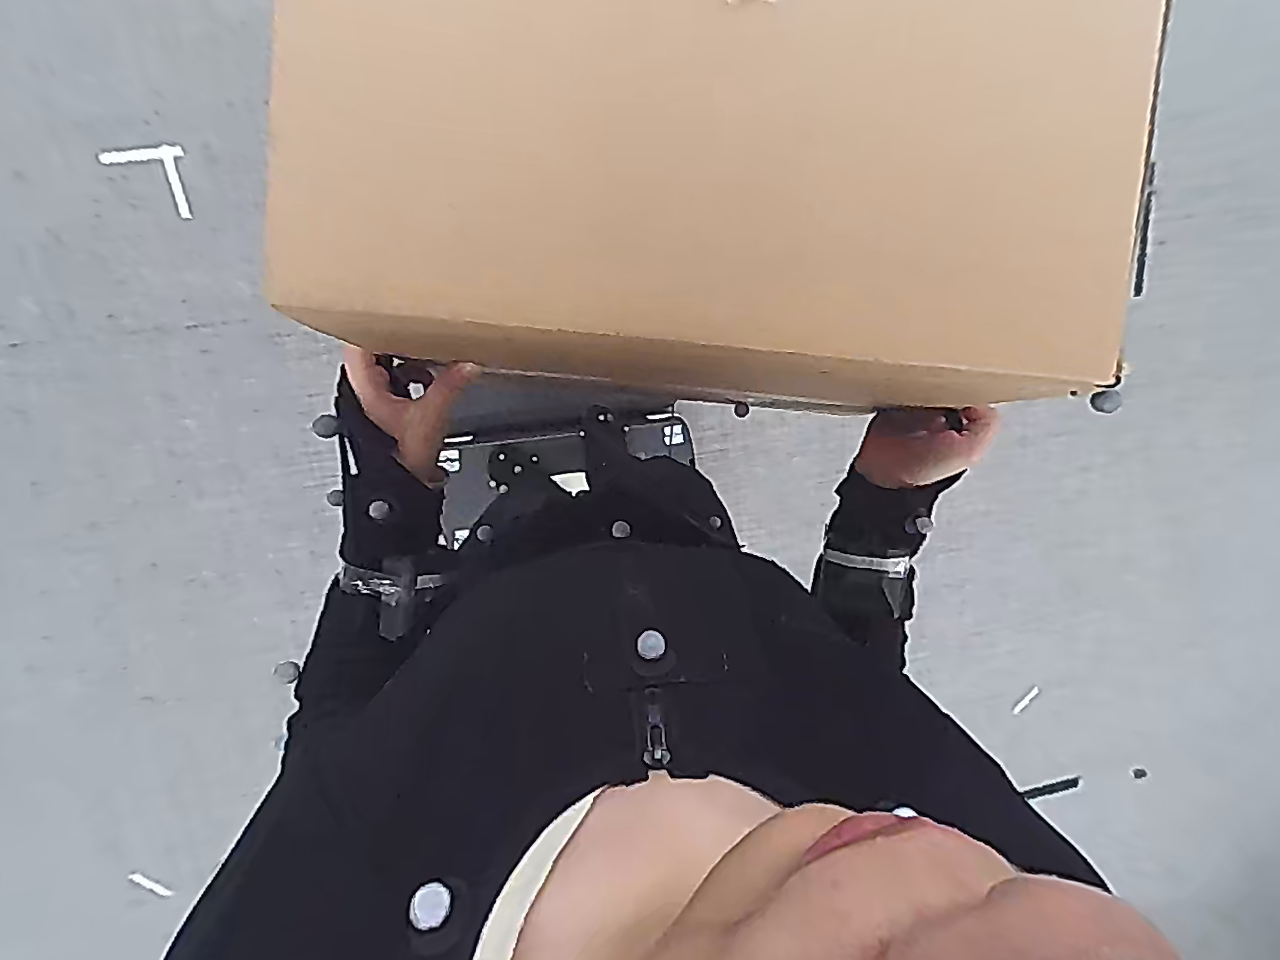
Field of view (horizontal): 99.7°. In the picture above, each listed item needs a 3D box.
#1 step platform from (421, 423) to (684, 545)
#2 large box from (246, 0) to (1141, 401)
[{"bbox_3d":[-0.222,0.004,1.456,0.684,0.204,0.286,-3,101,-8],"label":"step platform"},{"bbox_3d":[0.024,-0.231,0.384,0.408,0.320,0.320,3,96,-4],"label":"large box"}]
